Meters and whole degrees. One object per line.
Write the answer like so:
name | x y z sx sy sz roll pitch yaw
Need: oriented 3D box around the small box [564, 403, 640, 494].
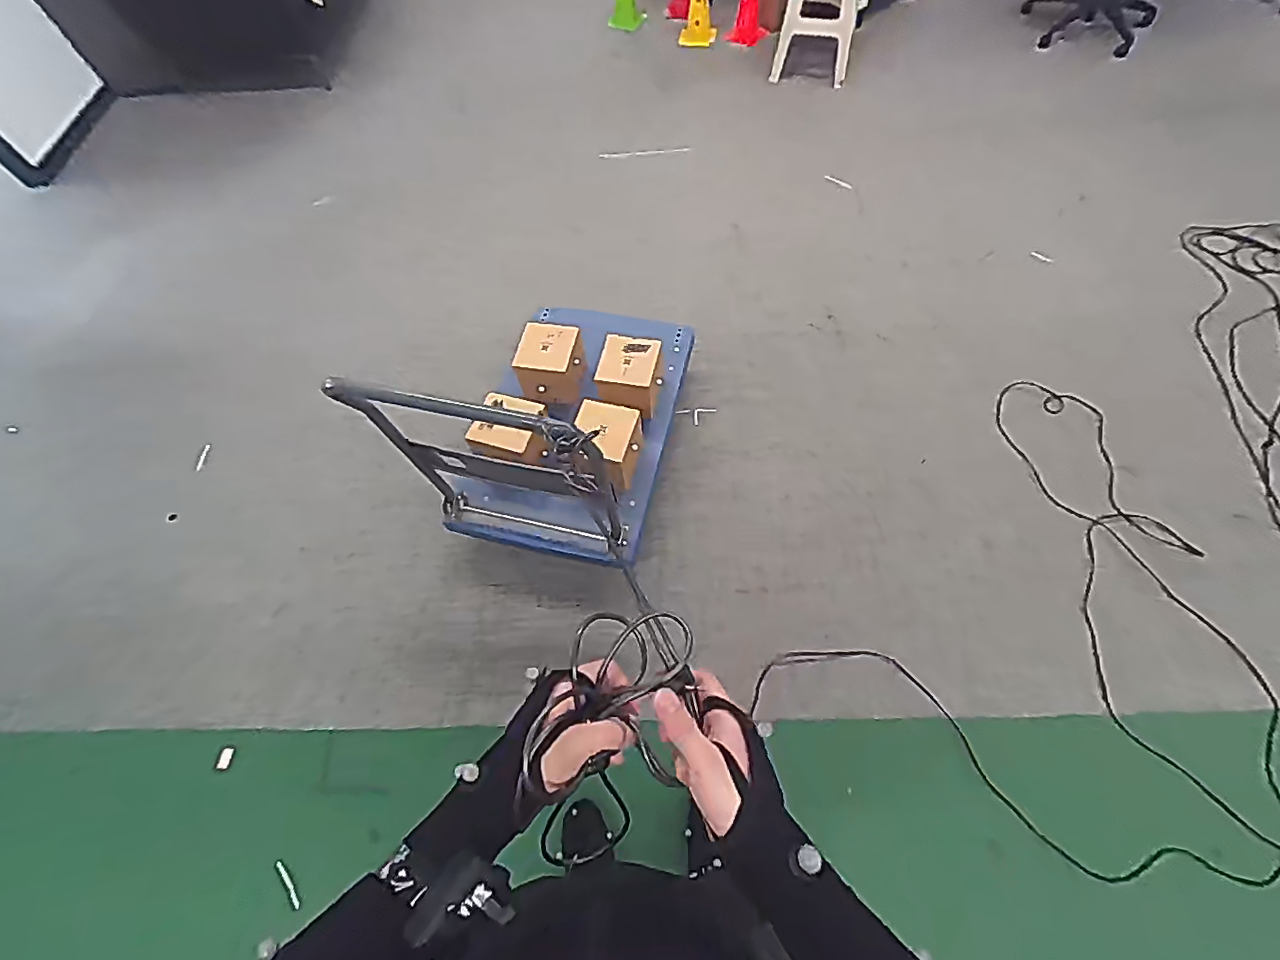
small box | -0.099 -0.087 1.532 0.168 0.176 0.179 13 64 11

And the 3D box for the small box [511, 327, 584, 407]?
small box | -0.279 -0.348 1.682 0.168 0.176 0.179 8 63 8

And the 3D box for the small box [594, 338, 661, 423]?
small box | -0.031 -0.300 1.639 0.168 0.176 0.179 9 64 10
